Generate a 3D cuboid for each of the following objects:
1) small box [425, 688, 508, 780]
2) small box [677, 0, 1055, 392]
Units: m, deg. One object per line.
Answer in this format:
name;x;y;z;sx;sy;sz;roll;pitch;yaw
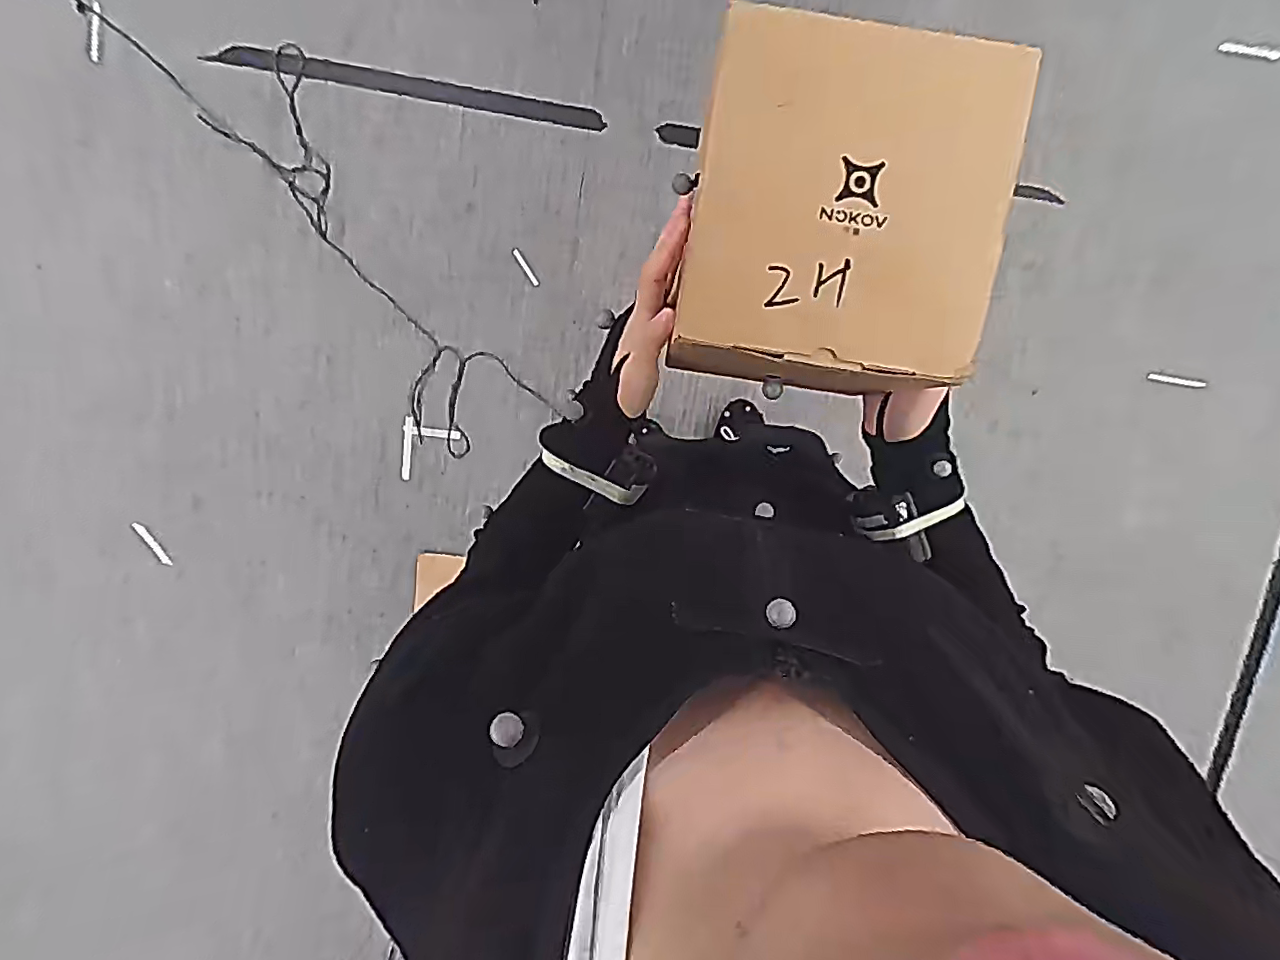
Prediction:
small box;-0.472;0.690;1.484;0.179;0.176;0.168;2;98;-1
small box;0.118;-0.160;0.361;0.168;0.176;0.179;8;97;0
